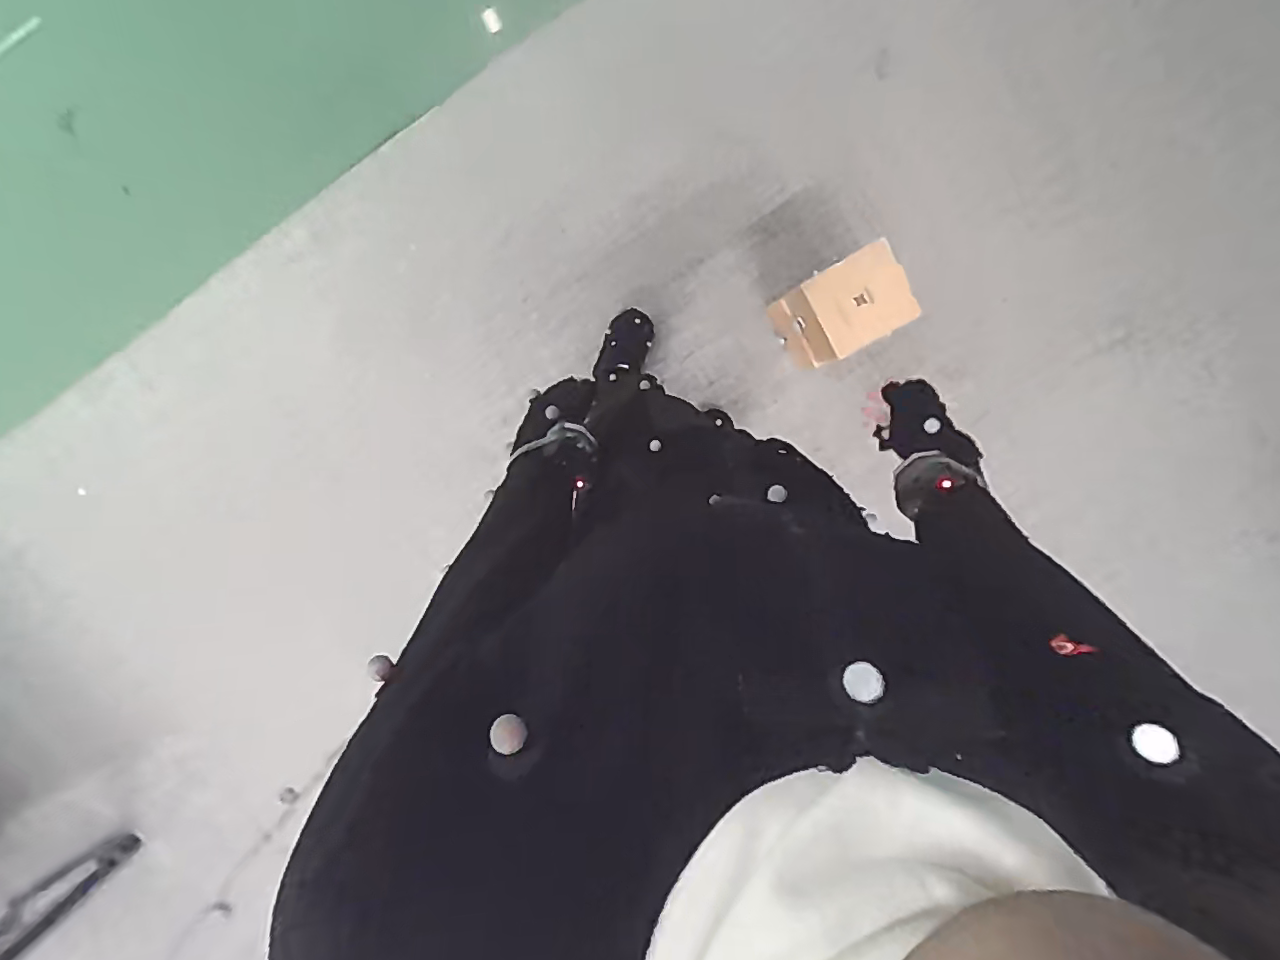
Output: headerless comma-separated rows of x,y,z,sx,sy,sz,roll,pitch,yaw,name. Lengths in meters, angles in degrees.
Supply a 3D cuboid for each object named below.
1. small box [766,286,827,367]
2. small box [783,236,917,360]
0.415,-0.381,1.262,0.168,0.176,0.179,-29,99,7,small box
0.416,-0.360,1.100,0.179,0.176,0.168,-30,97,9,small box
